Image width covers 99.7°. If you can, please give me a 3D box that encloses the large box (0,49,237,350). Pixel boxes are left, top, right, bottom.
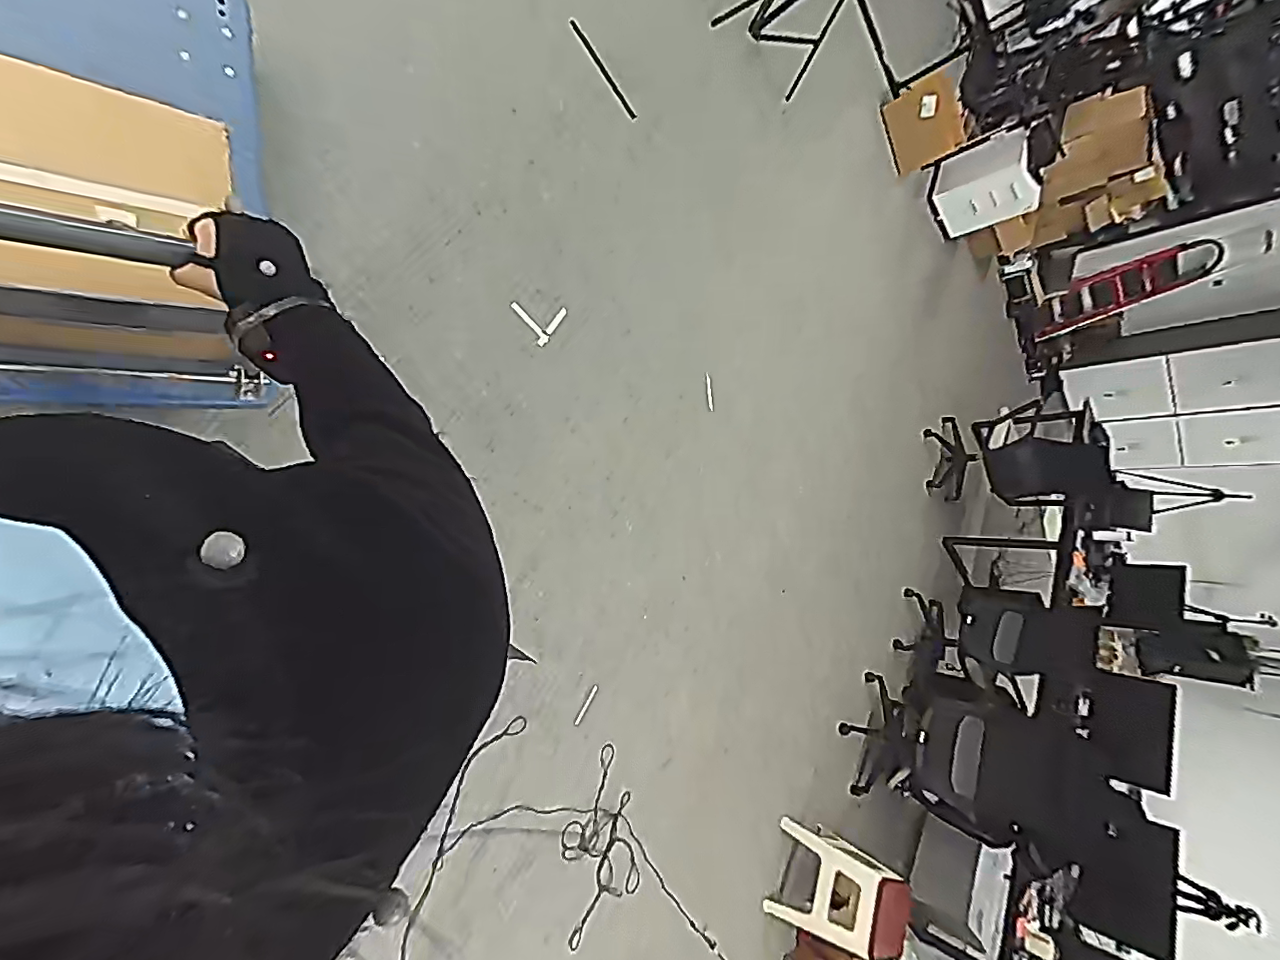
[{"bbox_3d":[-0.900,-0.401,0.828,0.408,0.320,0.320,-4,91,-44],"label":"large box"}]
